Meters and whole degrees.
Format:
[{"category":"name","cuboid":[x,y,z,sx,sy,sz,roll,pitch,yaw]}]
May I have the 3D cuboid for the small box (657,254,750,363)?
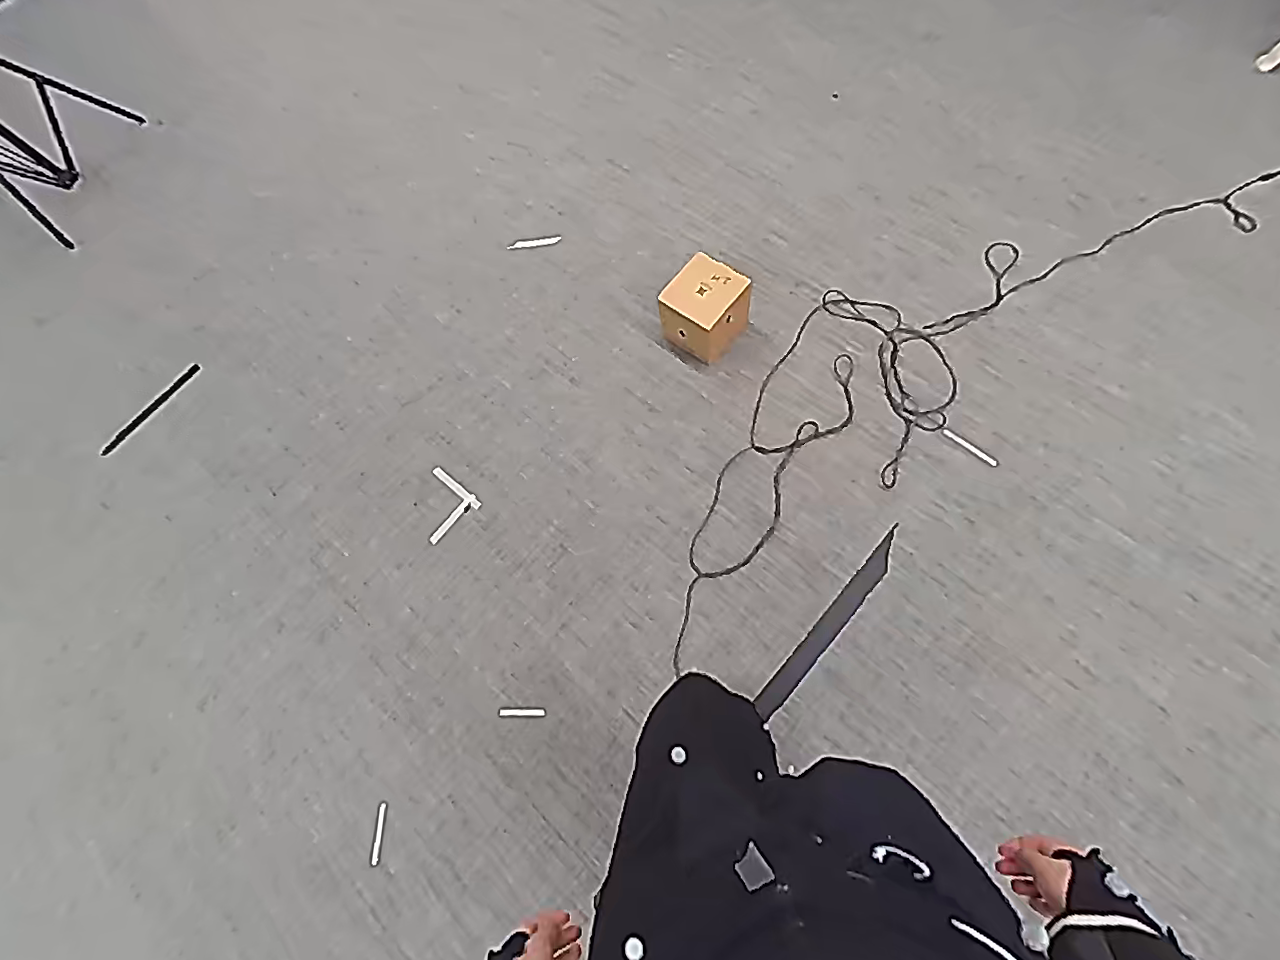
[{"category":"small box","cuboid":[0.167,-0.437,1.403,0.168,0.176,0.179,37,80,17]}]
